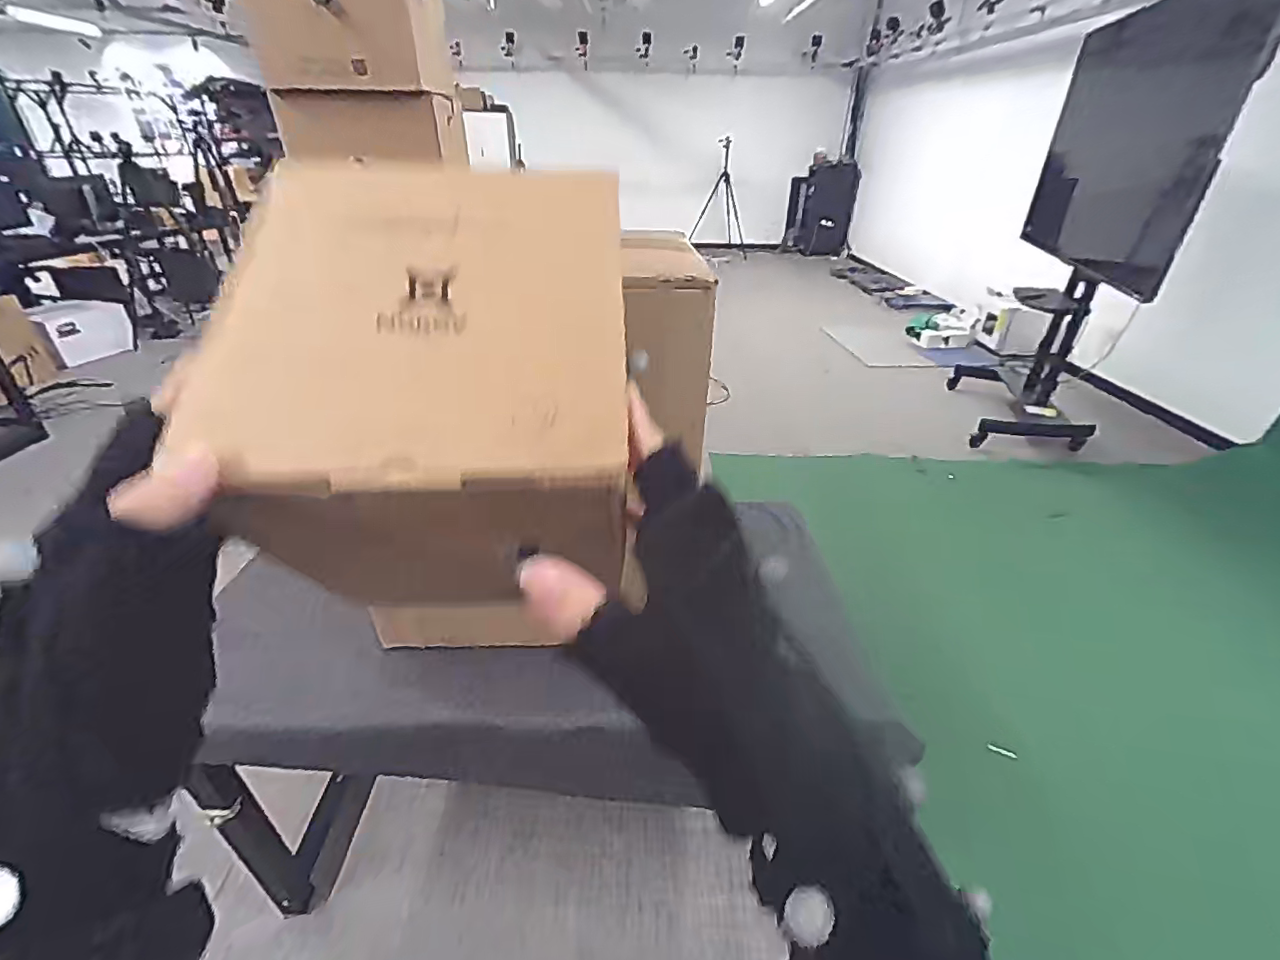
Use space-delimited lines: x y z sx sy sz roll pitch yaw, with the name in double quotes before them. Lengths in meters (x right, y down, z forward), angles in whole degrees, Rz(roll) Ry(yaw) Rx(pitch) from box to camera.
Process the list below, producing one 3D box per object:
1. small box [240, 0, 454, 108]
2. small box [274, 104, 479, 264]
"small box" -0.320 -0.517 0.607 0.168 0.176 0.179 -3 34 -4
"small box" -0.319 -0.387 0.705 0.179 0.176 0.168 -3 34 -3
